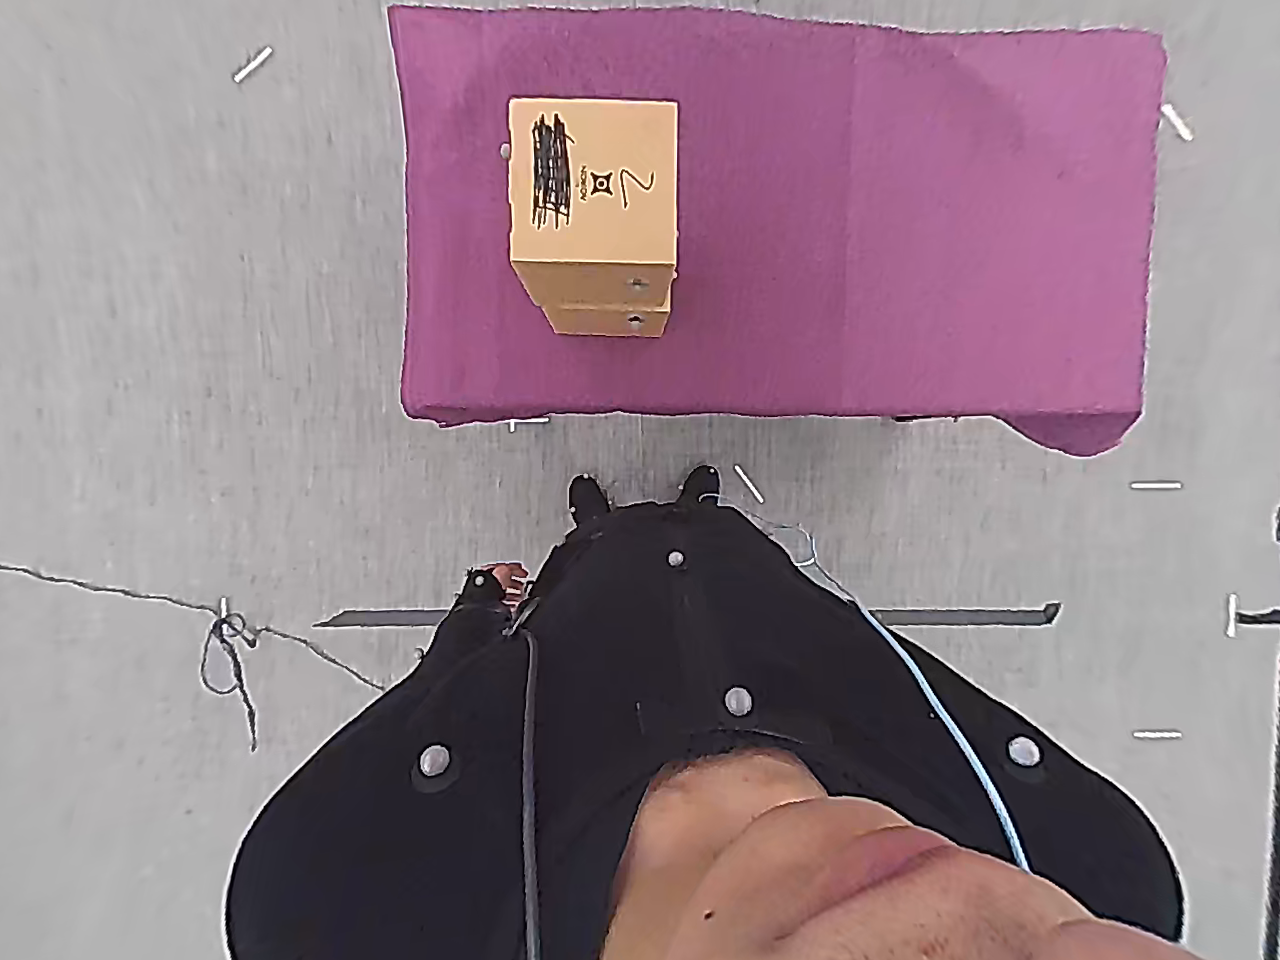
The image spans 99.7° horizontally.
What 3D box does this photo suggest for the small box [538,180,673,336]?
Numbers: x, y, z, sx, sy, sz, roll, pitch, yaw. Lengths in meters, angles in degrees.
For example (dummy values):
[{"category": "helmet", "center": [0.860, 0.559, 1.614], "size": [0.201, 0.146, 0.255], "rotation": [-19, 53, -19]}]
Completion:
[{"category": "small box", "center": [-0.050, -0.313, 0.797], "size": [0.179, 0.176, 0.168], "rotation": [2, 93, -2]}]
